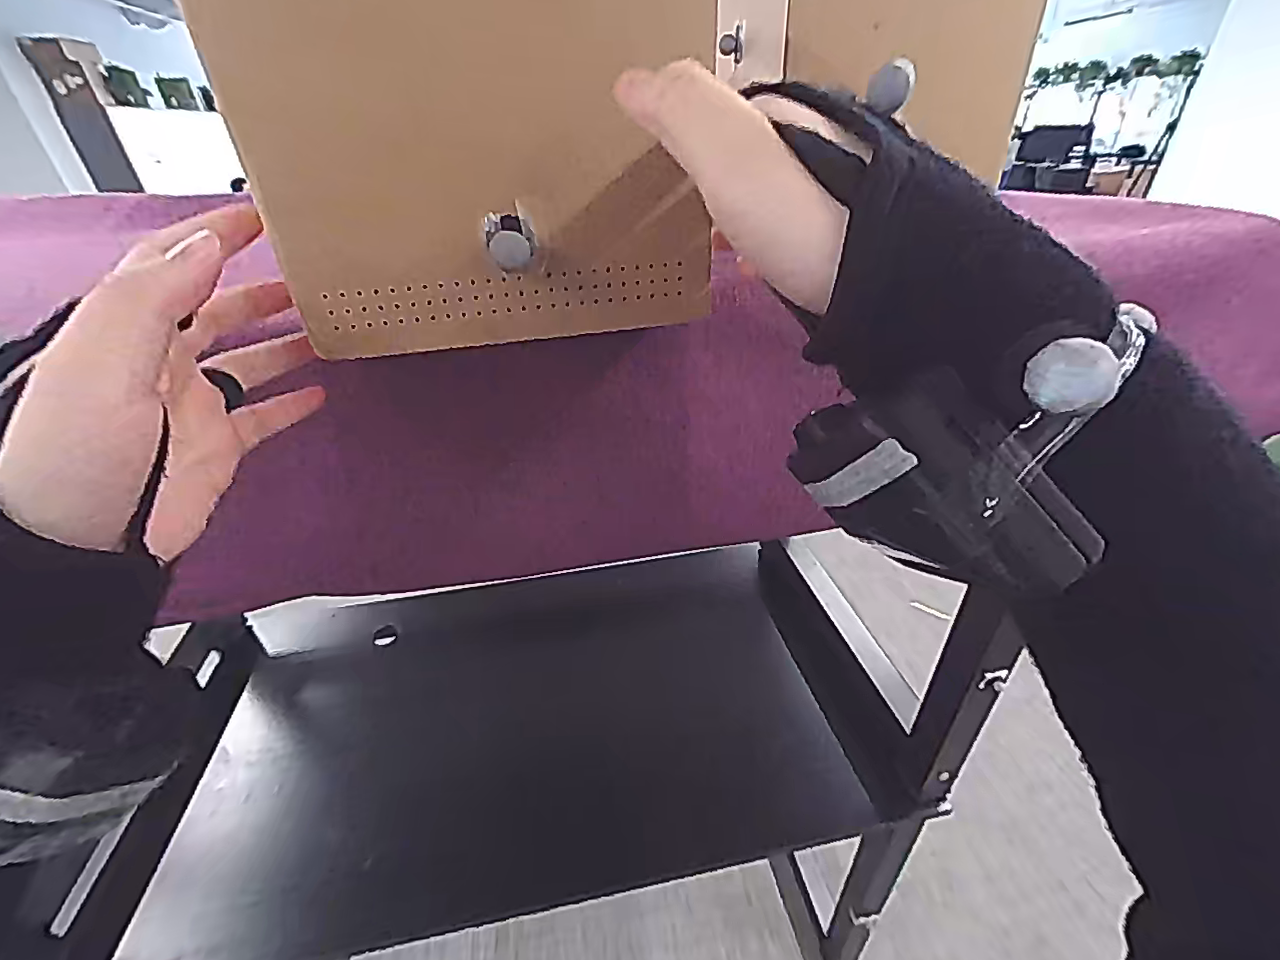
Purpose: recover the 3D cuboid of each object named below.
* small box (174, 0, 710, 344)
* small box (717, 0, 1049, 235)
[{"bbox_3d":[-0.072,-0.175,0.257,0.179,0.176,0.168,-8,33,-10],"label":"small box"},{"bbox_3d":[0.157,-0.289,0.412,0.168,0.176,0.179,-7,33,-5],"label":"small box"}]
